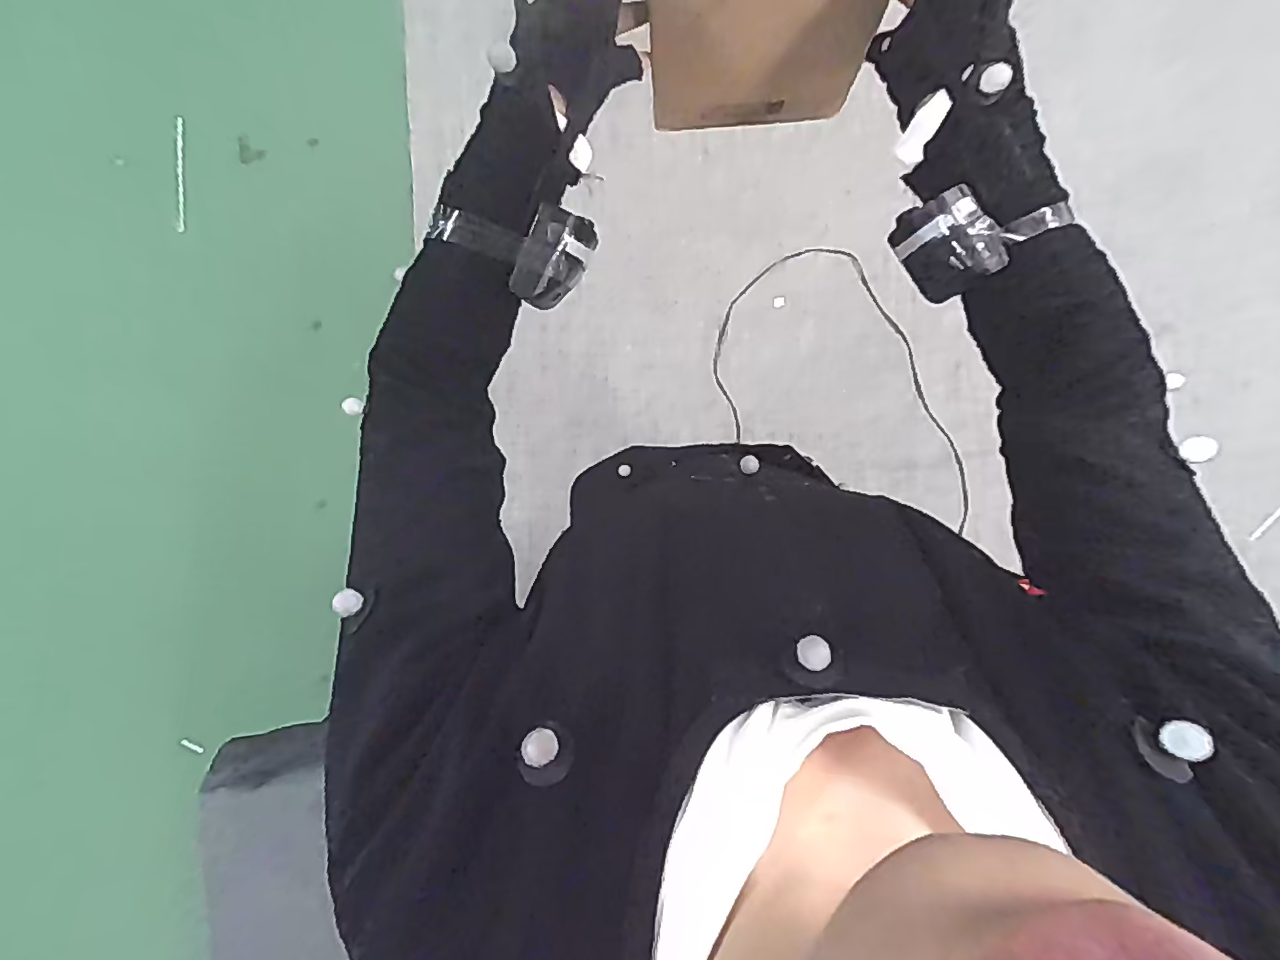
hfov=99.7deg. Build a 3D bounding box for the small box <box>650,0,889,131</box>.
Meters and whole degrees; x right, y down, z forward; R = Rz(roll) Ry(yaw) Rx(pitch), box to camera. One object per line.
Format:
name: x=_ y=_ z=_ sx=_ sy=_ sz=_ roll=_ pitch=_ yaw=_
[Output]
small box: x=0.089 y=-0.409 z=0.411 sx=0.168 sy=0.176 sz=0.179 roll=-3 pitch=85 yaw=3
